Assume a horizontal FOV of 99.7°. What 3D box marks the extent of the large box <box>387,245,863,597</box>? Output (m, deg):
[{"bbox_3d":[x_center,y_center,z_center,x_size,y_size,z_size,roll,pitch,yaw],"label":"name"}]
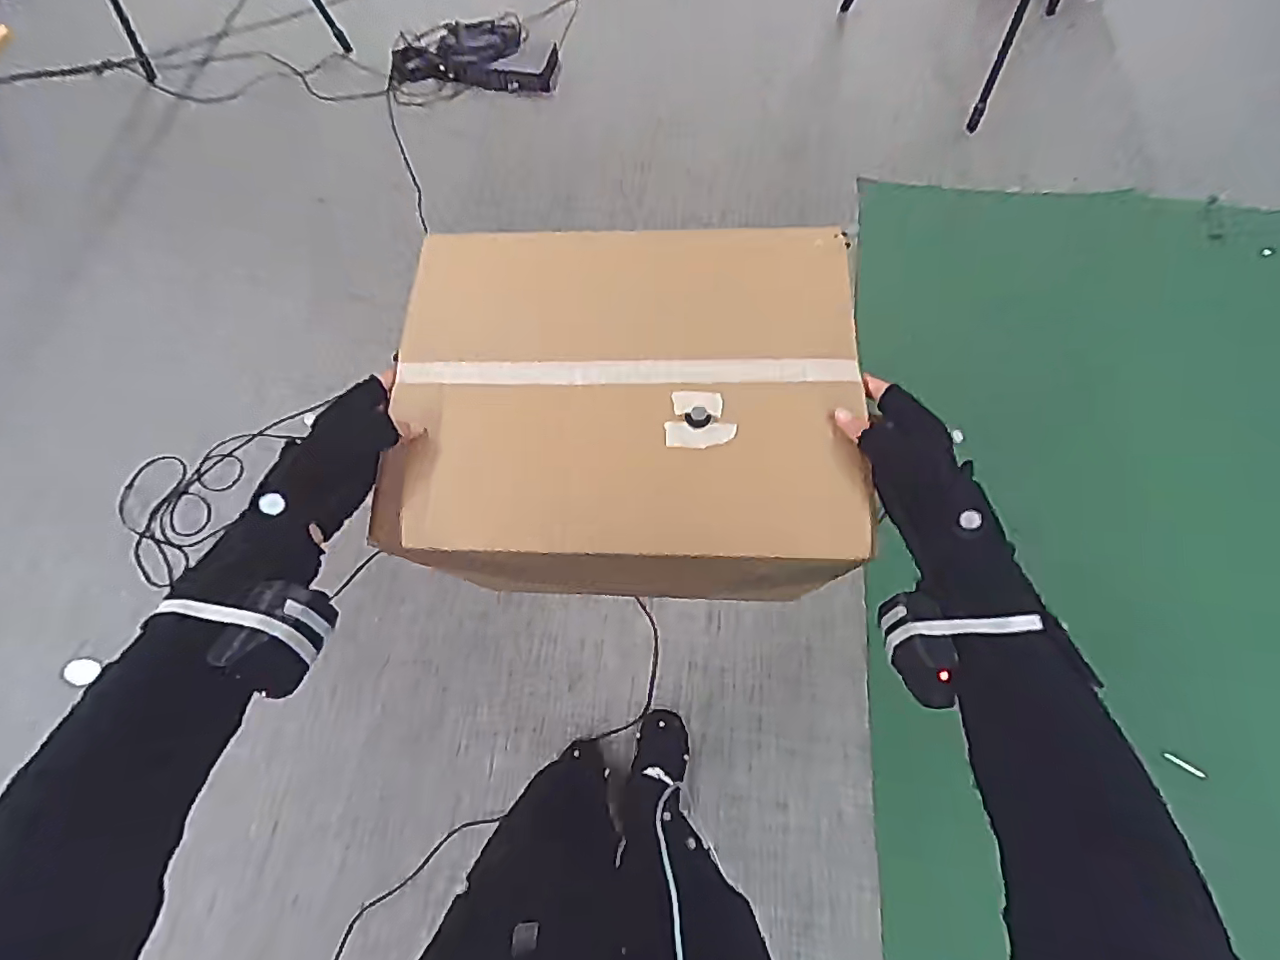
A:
[{"bbox_3d":[-0.008,-0.037,0.631,0.408,0.320,0.320,1,72,4],"label":"large box"}]
